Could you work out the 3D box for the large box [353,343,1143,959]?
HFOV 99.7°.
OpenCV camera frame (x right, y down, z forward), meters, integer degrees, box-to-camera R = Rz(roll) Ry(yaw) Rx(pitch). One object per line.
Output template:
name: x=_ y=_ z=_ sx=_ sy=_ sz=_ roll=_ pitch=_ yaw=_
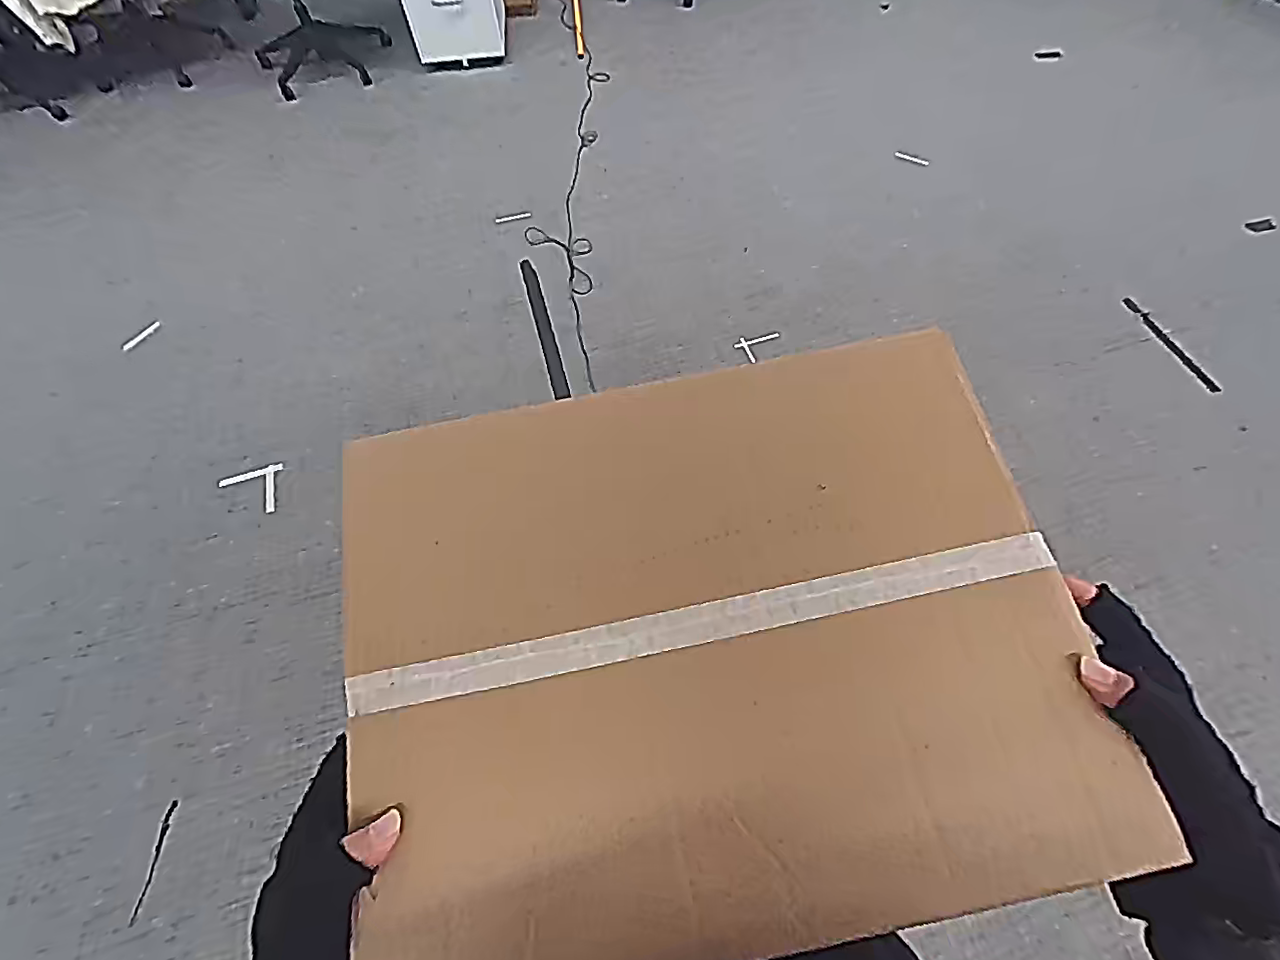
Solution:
large box: x=0.042 y=0.134 z=0.456 sx=0.408 sy=0.320 sz=0.320 roll=-12 pitch=70 yaw=-1
